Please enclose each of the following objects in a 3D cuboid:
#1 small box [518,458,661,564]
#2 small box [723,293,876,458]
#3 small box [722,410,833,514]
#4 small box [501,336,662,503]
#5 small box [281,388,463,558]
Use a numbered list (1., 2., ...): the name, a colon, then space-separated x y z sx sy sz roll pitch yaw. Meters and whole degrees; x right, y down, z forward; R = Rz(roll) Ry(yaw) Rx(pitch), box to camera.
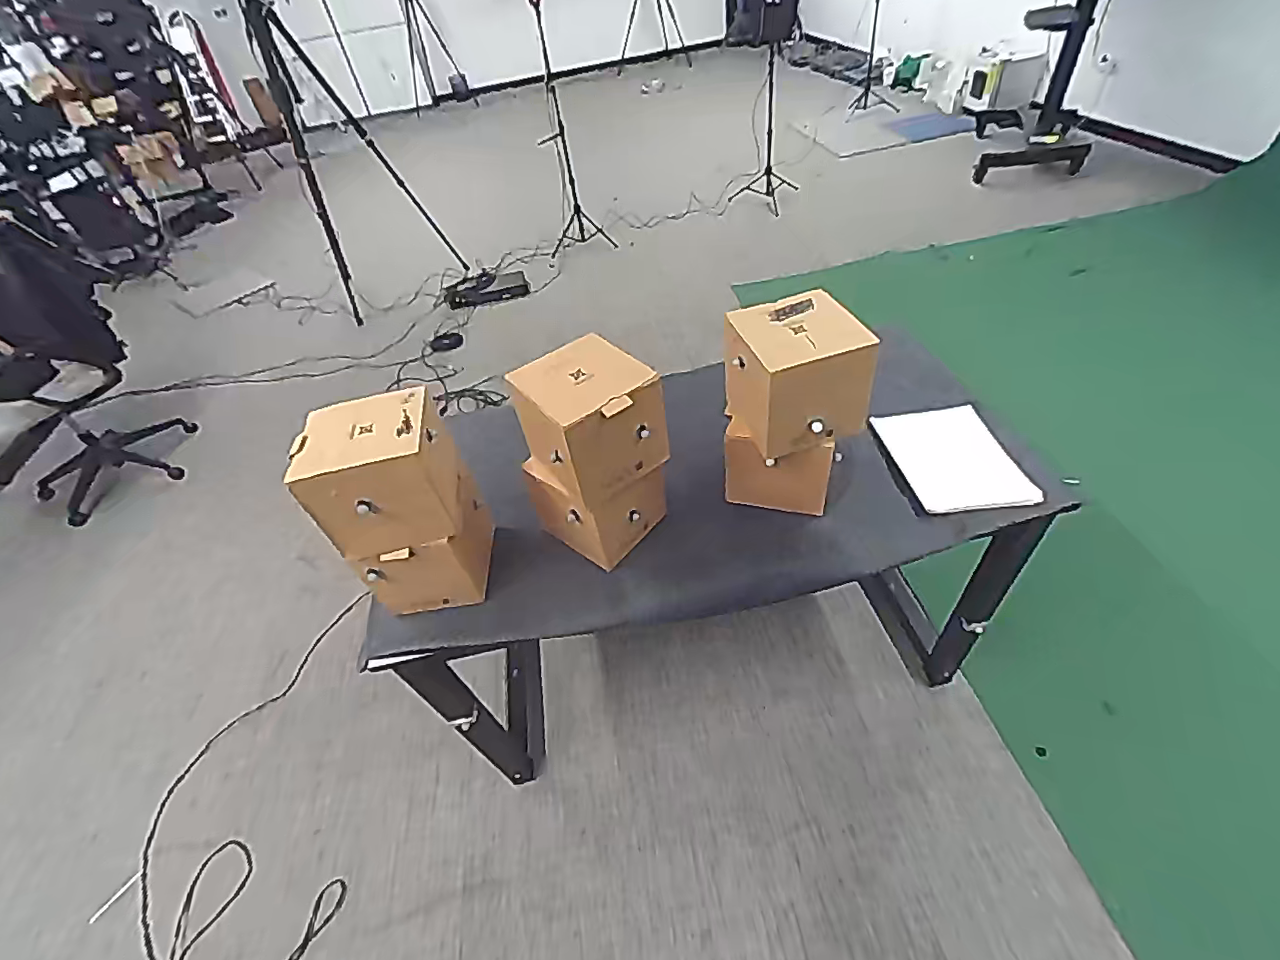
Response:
1. small box: -0.079 0.022 0.955 0.179 0.176 0.168 27 55 31
2. small box: 0.237 -0.163 0.848 0.168 0.176 0.179 -16 45 -4
3. small box: 0.254 -0.059 0.975 0.179 0.176 0.168 8 48 19
4. small box: -0.082 -0.089 0.835 0.168 0.176 0.179 -33 48 -22
5. small box: -0.381 -0.007 0.807 0.179 0.176 0.168 -14 44 -4
